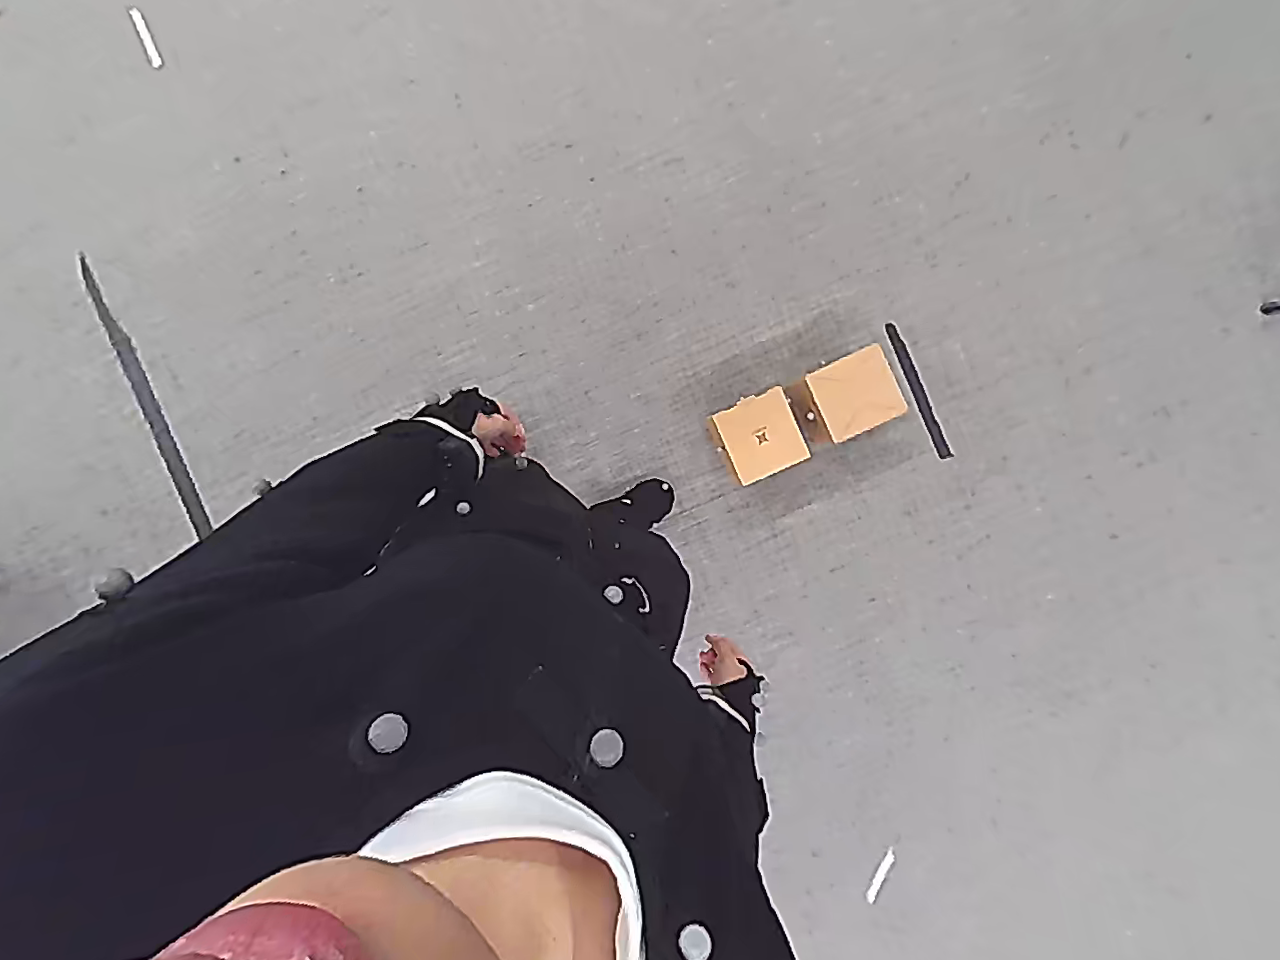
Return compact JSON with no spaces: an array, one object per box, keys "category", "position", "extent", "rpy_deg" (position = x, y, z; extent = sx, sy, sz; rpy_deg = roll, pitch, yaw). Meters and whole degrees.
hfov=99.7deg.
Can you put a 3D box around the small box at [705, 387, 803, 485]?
[{"category":"small box","position":[0.264,-0.104,1.288],"extent":[0.168,0.176,0.179],"rpy_deg":[-24,92,3]}]

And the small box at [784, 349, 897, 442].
[{"category":"small box","position":[0.468,-0.196,1.271],"extent":[0.179,0.176,0.168],"rpy_deg":[-25,92,3]}]
